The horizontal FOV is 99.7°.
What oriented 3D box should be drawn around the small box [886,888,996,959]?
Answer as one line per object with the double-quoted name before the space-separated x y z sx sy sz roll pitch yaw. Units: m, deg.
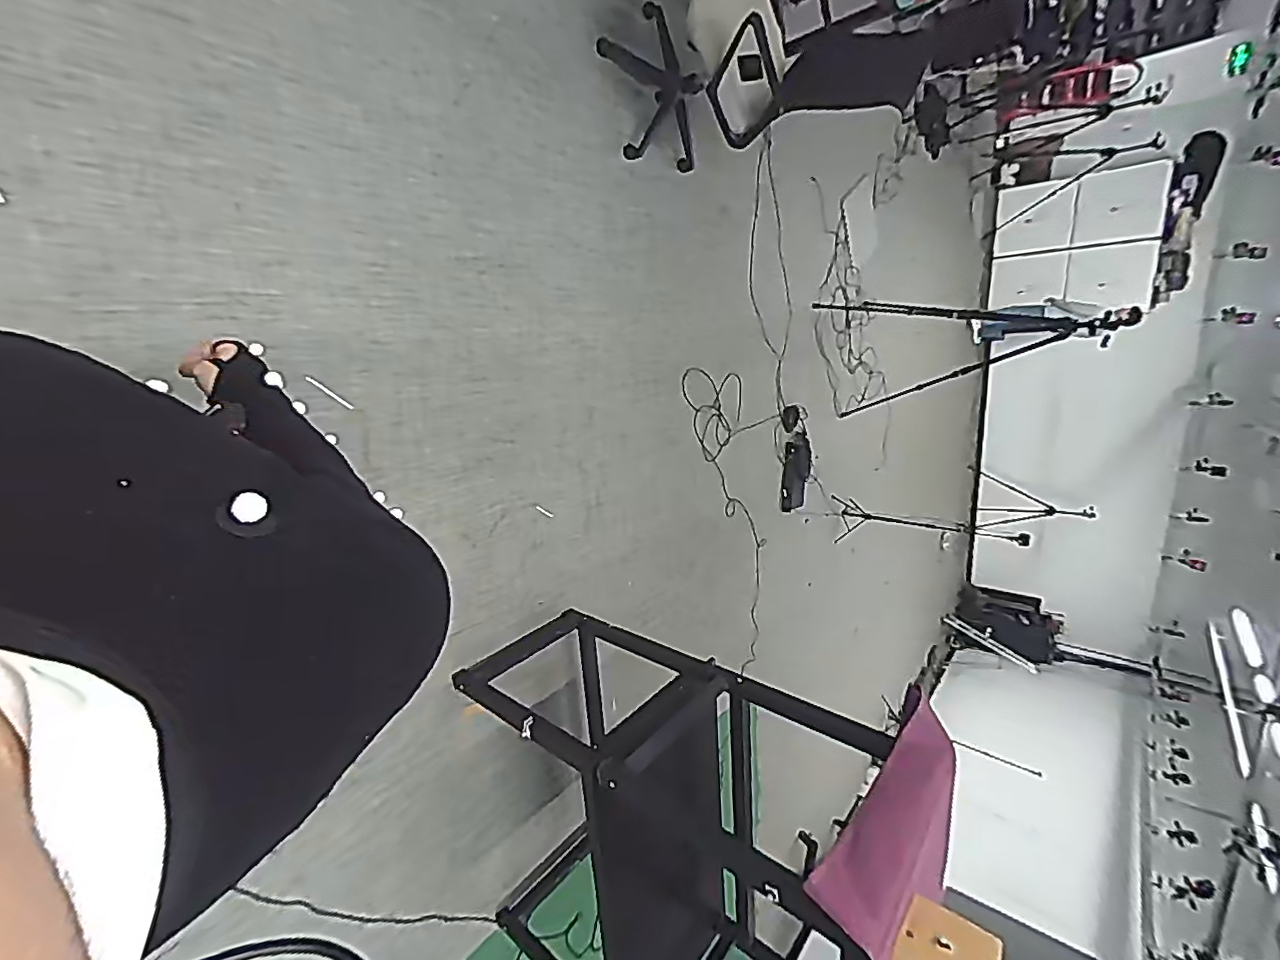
"small box" 0.608 0.986 1.103 0.168 0.176 0.179 -17 110 -47
